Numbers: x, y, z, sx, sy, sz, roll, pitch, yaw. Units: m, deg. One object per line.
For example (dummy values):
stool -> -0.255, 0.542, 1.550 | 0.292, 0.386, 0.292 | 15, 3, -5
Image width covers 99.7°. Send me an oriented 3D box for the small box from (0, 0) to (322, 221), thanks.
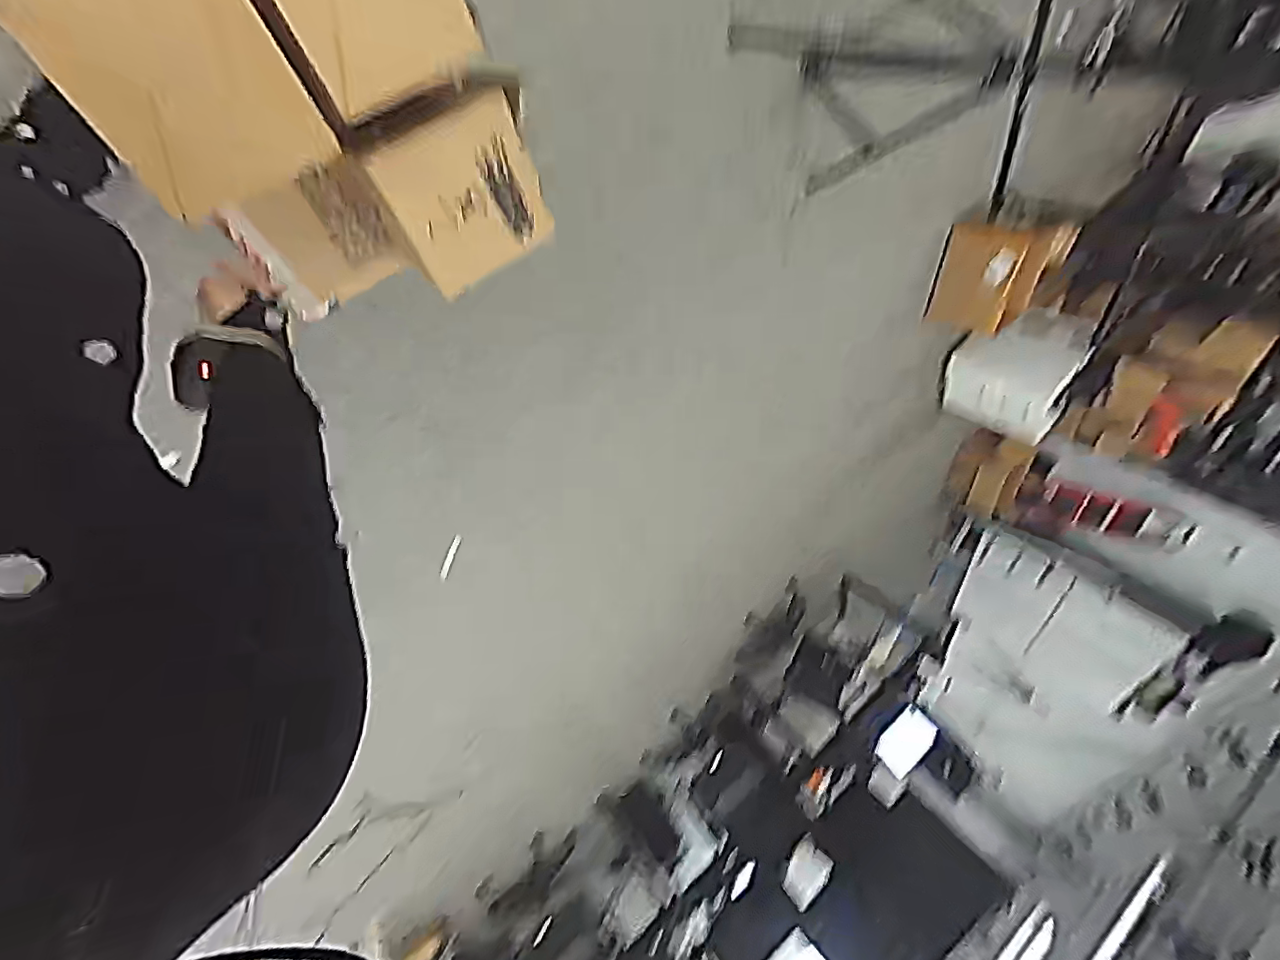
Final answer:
small box -> -0.441, -0.382, 0.520 | 0.168, 0.176, 0.179 | -35, 138, -13
